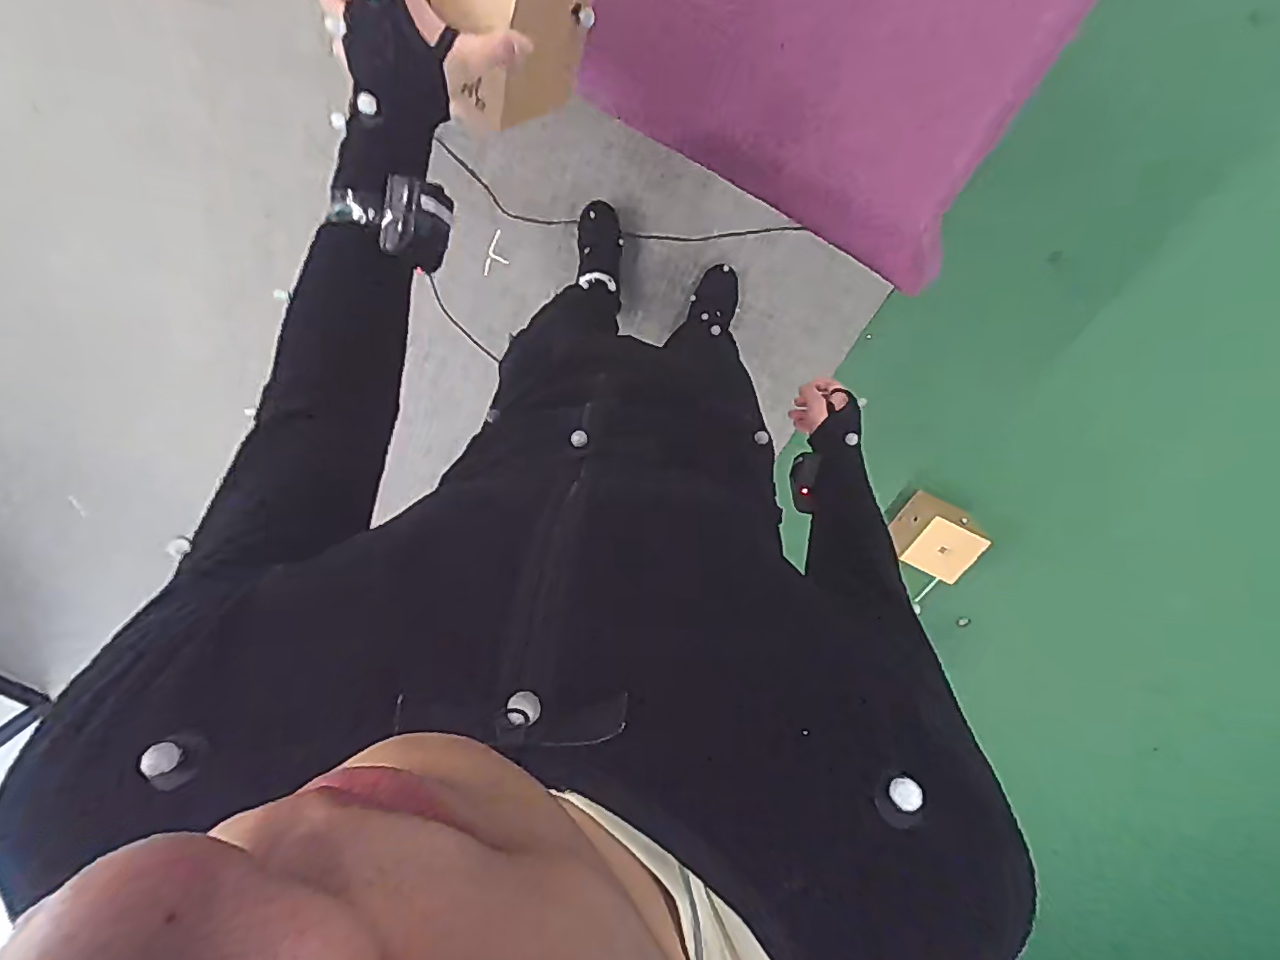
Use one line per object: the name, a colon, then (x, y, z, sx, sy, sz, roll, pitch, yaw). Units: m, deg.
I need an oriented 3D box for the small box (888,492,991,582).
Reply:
small box: (0.850, 0.156, 1.560, 0.179, 0.176, 0.168, 25, 118, -3)

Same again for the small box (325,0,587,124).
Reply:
small box: (-0.149, -0.461, 0.475, 0.168, 0.176, 0.179, 28, 137, -2)
